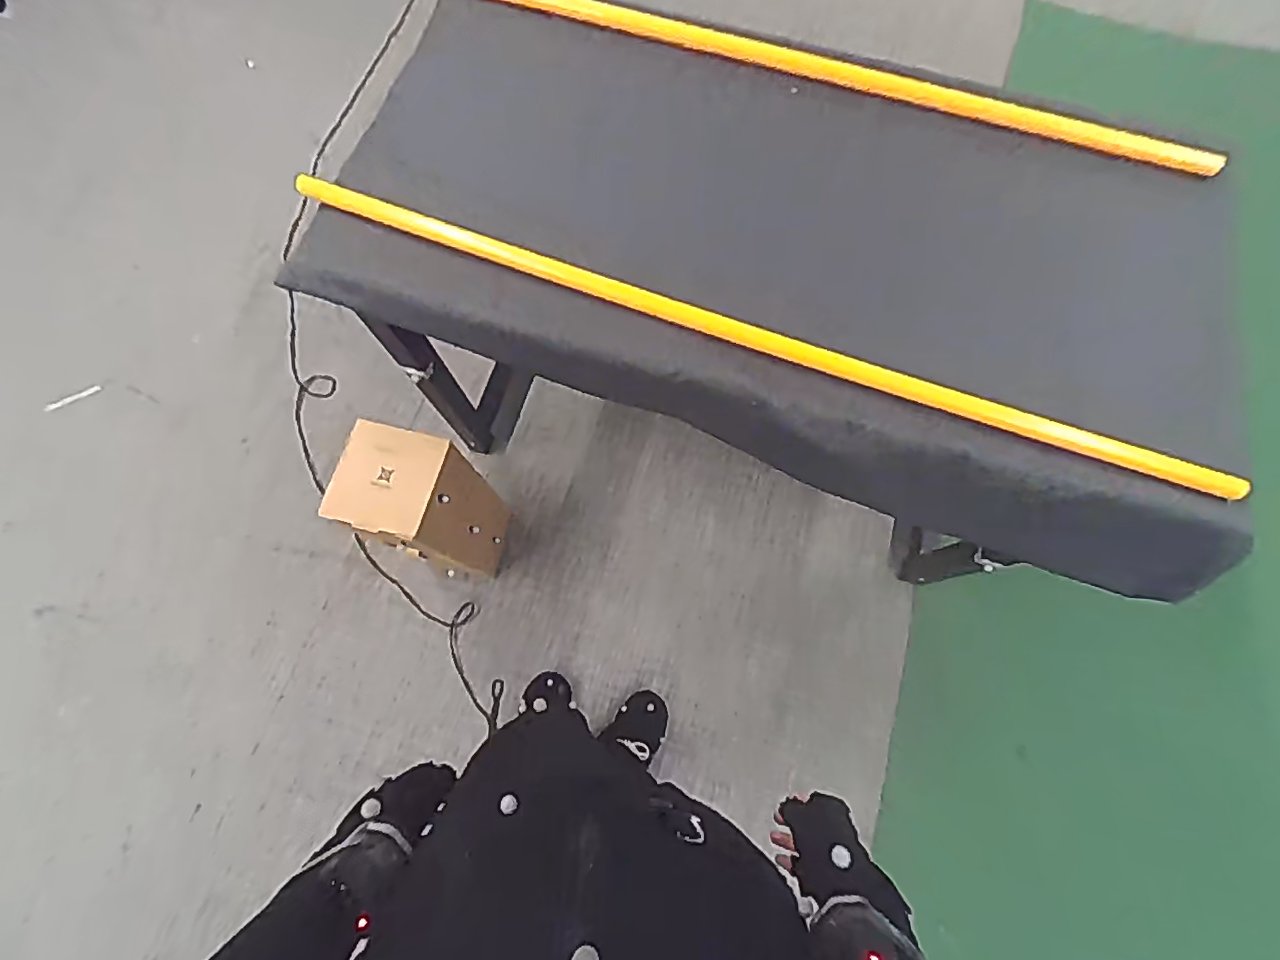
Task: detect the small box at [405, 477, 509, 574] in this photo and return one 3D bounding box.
[{"bbox_3d":[-0.416,0.111,1.264,0.168,0.176,0.179,10,74,2],"label":"small box"}]
